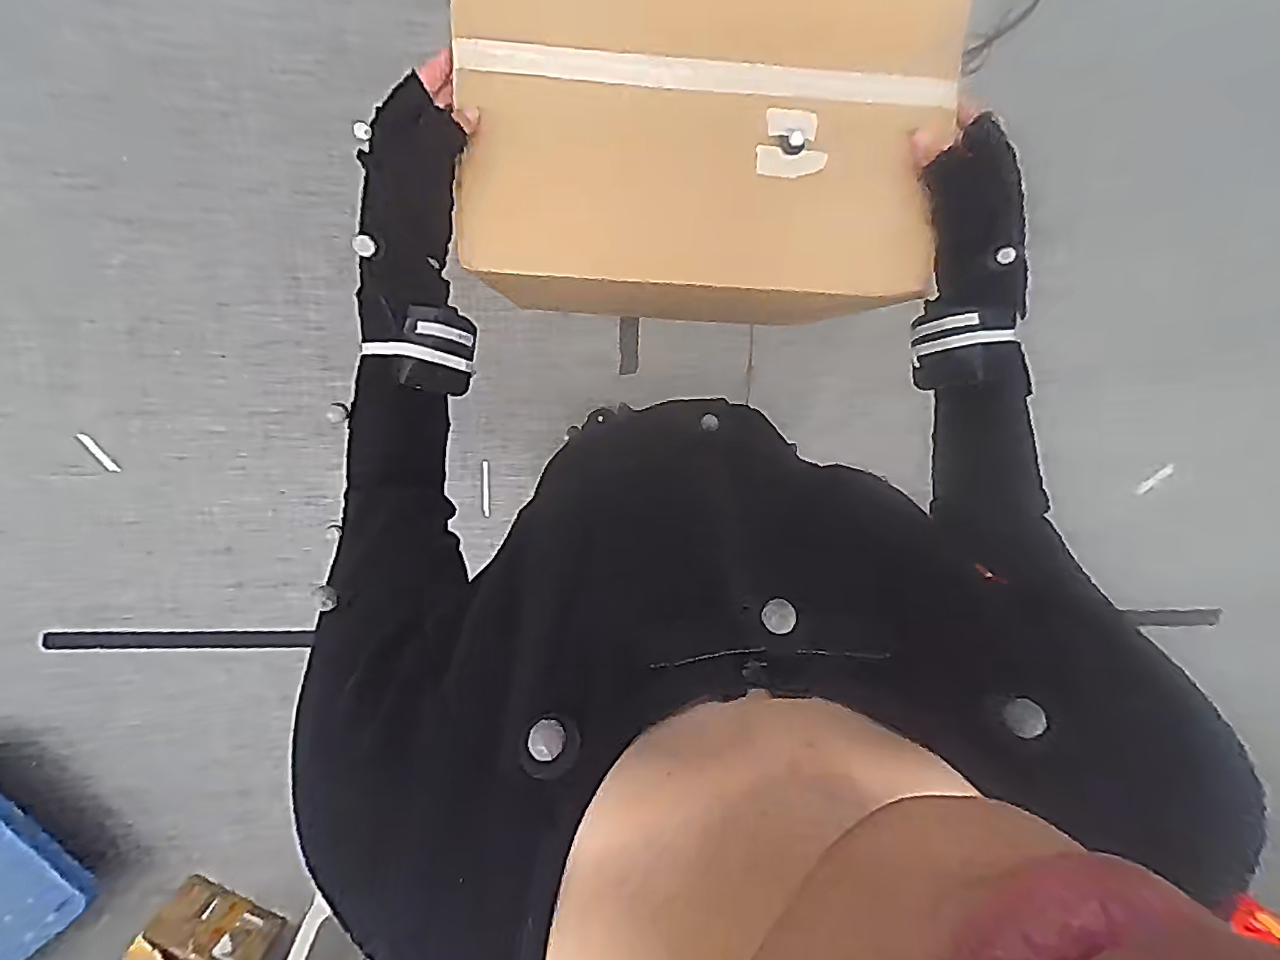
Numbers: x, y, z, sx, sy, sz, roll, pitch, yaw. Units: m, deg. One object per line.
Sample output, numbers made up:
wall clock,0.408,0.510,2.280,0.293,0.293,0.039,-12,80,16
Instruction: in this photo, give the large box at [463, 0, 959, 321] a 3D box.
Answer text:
large box,0.046,-0.352,0.584,0.408,0.320,0.320,2,102,-5
